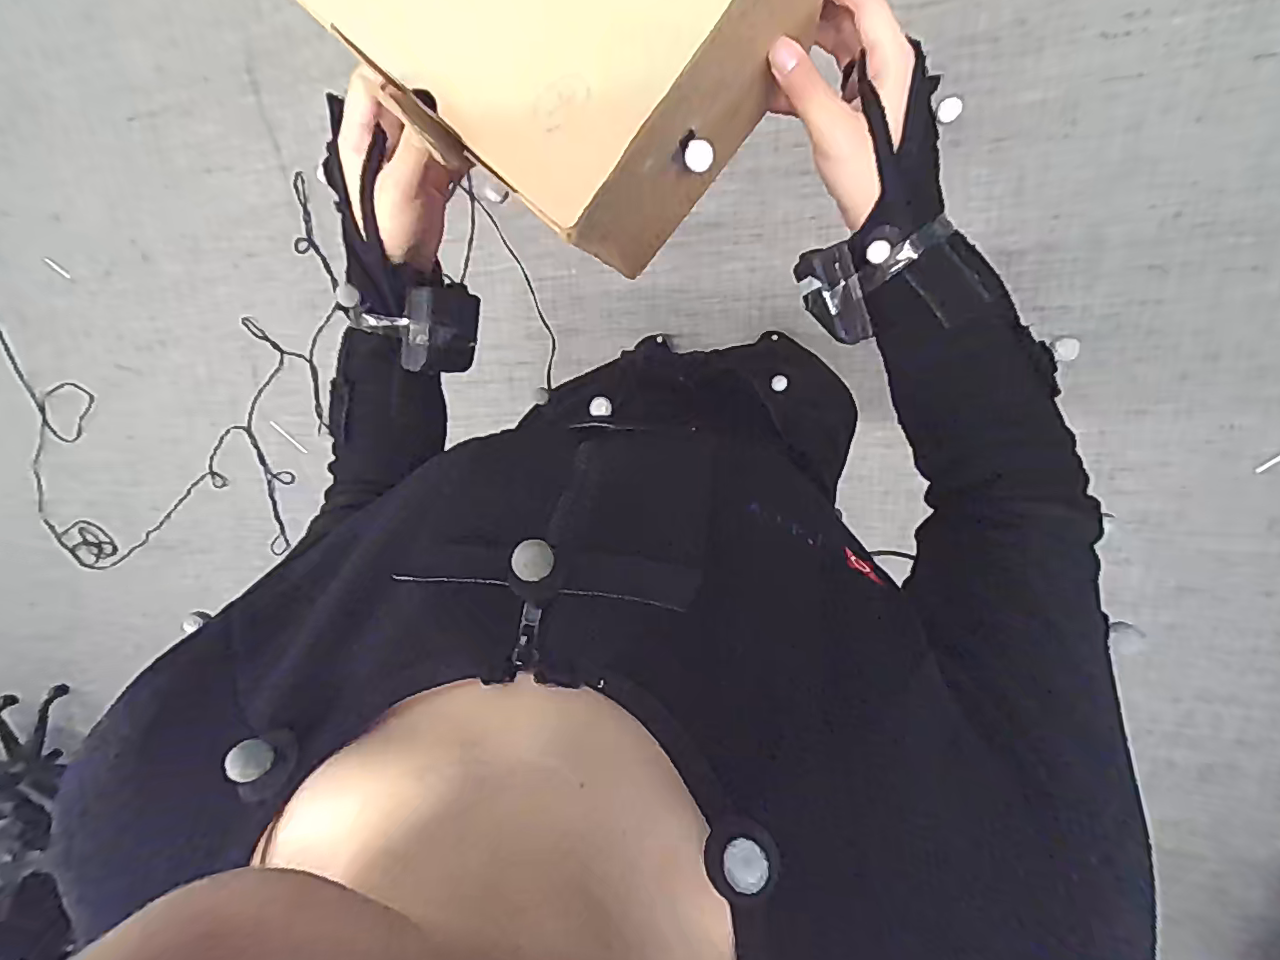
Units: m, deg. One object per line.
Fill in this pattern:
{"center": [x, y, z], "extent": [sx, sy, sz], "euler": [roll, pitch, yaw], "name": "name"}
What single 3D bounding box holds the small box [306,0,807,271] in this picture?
{"center": [-0.022, -0.240, 0.294], "extent": [0.168, 0.176, 0.179], "euler": [41, 107, -2], "name": "small box"}
